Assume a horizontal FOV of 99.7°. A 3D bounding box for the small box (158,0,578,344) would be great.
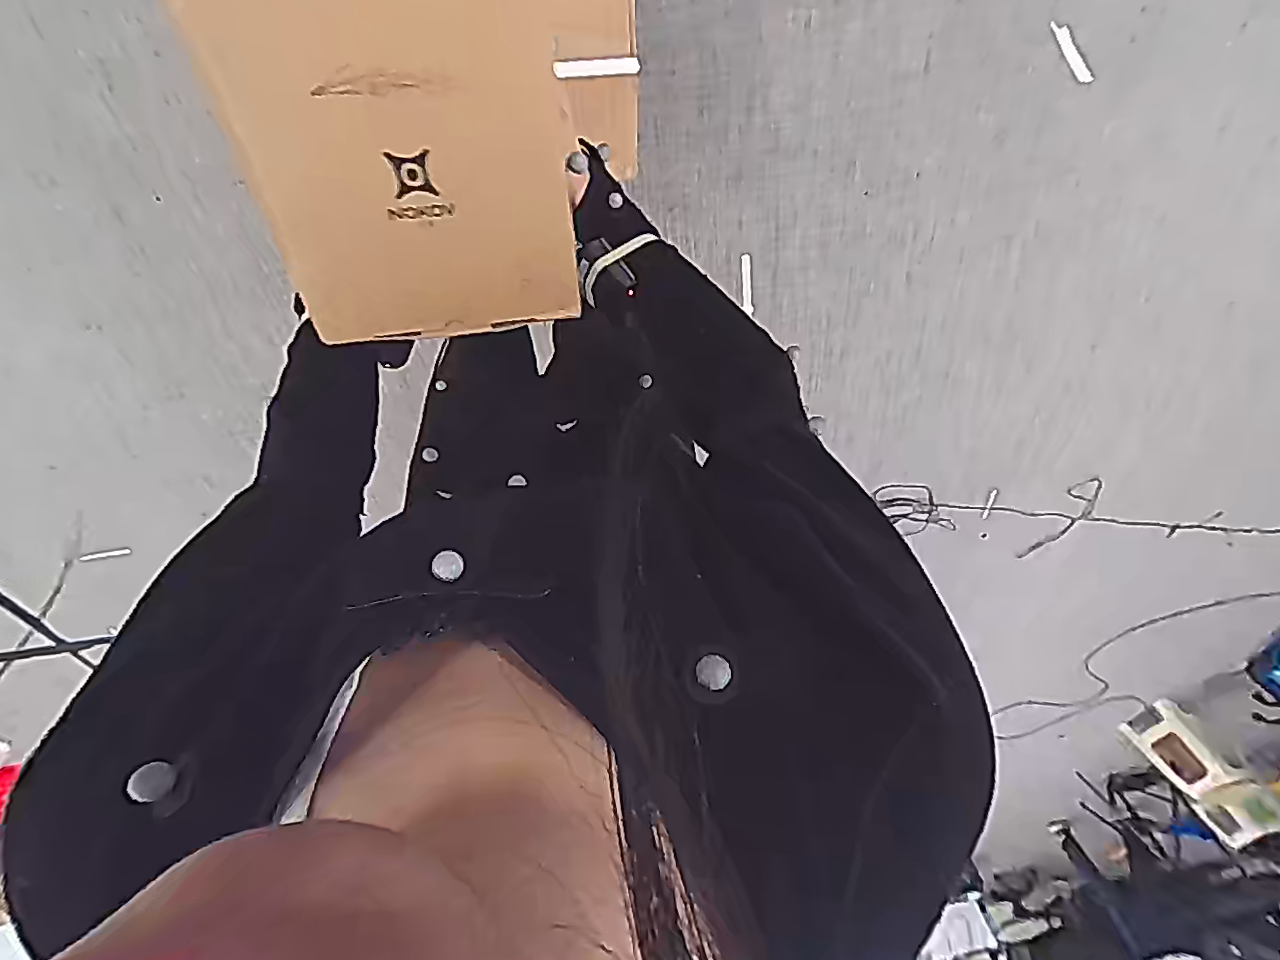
[{"bbox_3d":[-0.135,-0.213,0.349,0.168,0.176,0.179,-9,132,-5],"label":"small box"}]
